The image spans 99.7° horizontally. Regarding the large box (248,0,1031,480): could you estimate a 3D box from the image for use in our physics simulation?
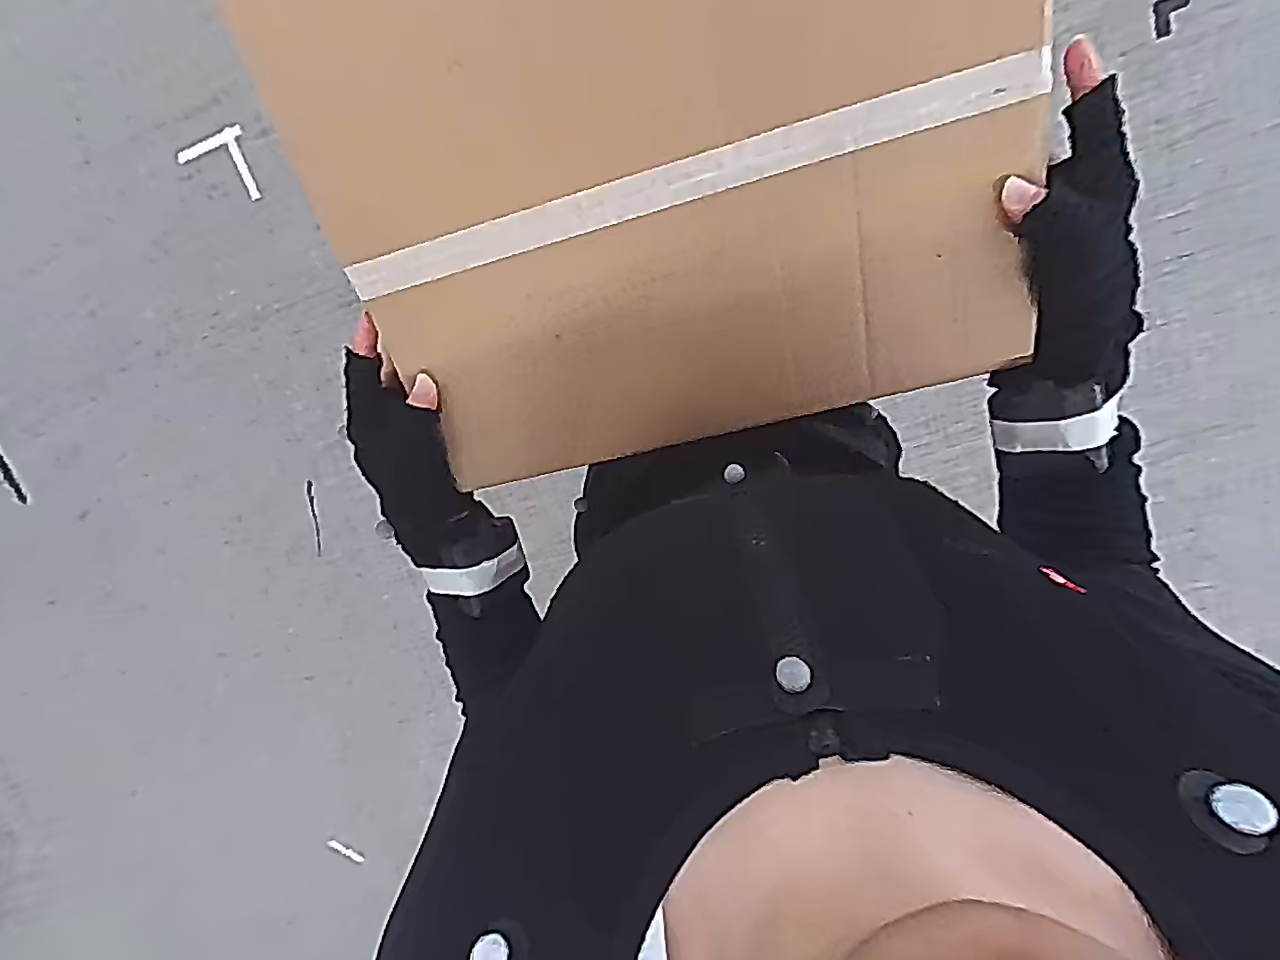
[{"bbox_3d":[0.021,-0.241,0.454,0.408,0.320,0.320,-12,117,9],"label":"large box"}]
